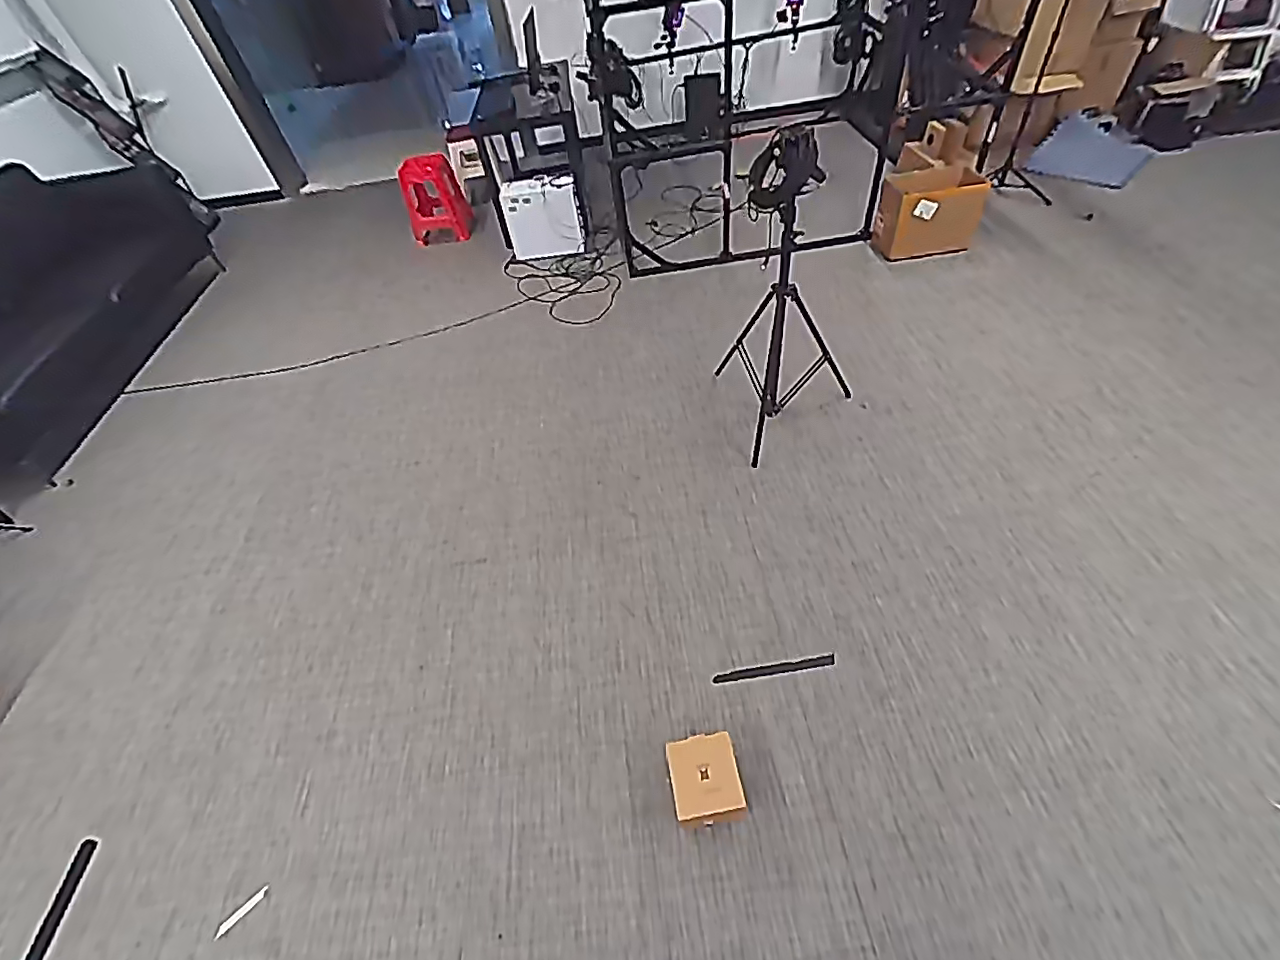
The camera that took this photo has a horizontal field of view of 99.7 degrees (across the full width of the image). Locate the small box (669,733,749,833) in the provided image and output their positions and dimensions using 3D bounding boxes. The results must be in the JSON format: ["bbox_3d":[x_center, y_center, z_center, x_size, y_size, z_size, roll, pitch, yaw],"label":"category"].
[{"bbox_3d":[0.173,0.772,1.377,0.168,0.176,0.179,-11,49,0],"label":"small box"}]
